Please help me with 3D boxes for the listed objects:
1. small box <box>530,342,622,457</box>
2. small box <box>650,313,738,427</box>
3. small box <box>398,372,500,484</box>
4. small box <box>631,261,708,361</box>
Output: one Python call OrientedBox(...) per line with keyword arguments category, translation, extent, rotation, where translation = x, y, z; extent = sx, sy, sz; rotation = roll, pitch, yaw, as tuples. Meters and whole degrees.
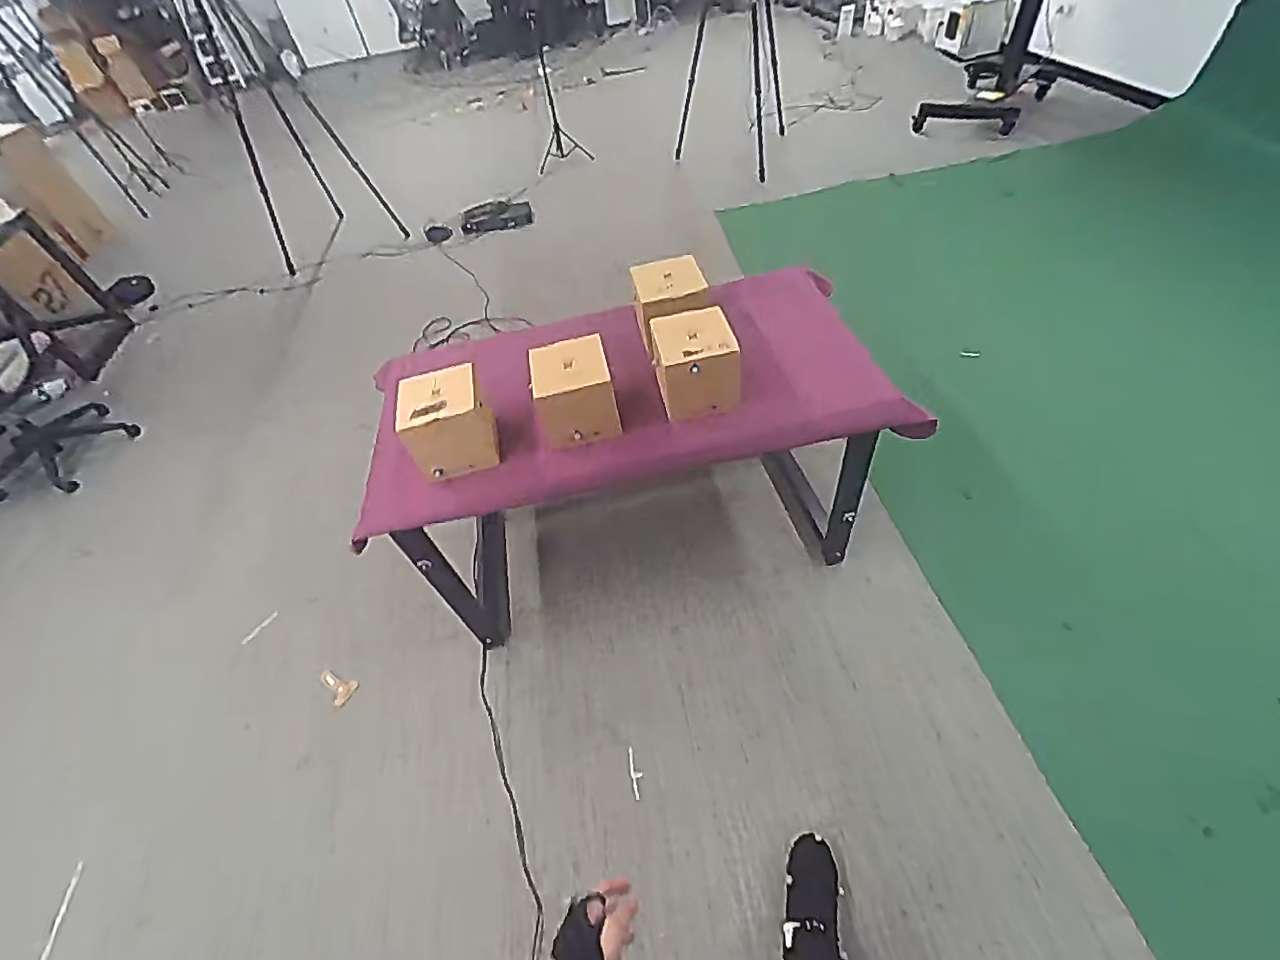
OrientedBox(category="small box", translation=(-0.145, -0.182, 1.231), extent=(0.168, 0.176, 0.179), rotation=(-14, 49, 0))
OrientedBox(category="small box", translation=(0.123, -0.250, 1.235), extent=(0.168, 0.176, 0.179), rotation=(-13, 48, 1))
OrientedBox(category="small box", translation=(-0.423, -0.110, 1.218), extent=(0.168, 0.176, 0.179), rotation=(-16, 47, -3))
OrientedBox(category="small box", translation=(0.078, -0.432, 1.397), extent=(0.168, 0.176, 0.179), rotation=(-13, 50, 0))
